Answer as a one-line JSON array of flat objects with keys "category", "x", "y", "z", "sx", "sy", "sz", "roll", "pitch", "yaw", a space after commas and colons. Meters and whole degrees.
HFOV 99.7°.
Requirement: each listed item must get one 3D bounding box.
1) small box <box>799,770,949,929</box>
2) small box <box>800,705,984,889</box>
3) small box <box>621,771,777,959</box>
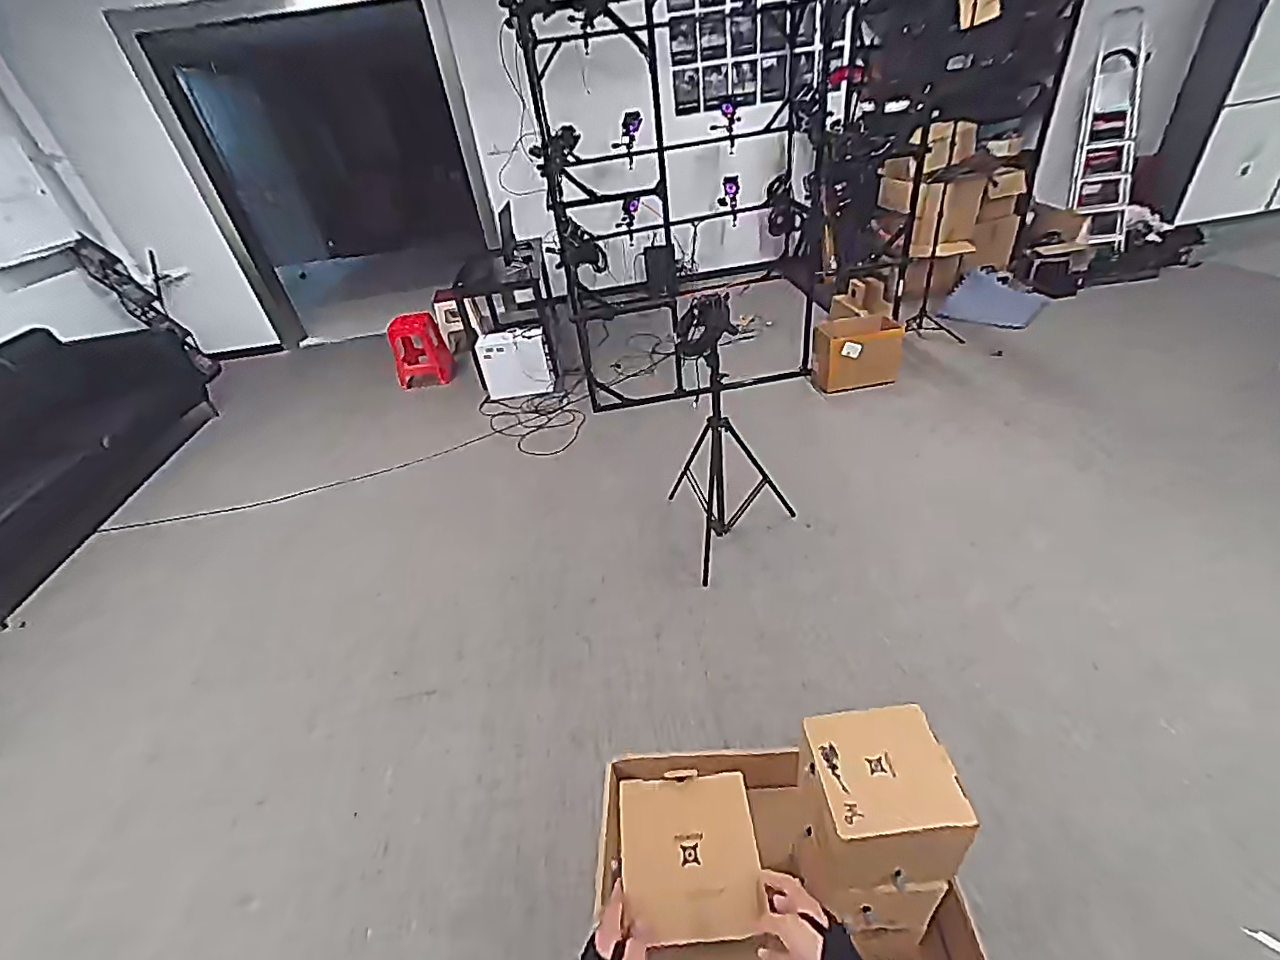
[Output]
[{"category": "small box", "x": 0.355, "y": 0.580, "z": 0.855, "sx": 0.168, "sy": 0.176, "sz": 0.179, "roll": -6, "pitch": 34, "yaw": 4}, {"category": "small box", "x": 0.337, "y": 0.446, "z": 0.763, "sx": 0.179, "sy": 0.176, "sz": 0.168, "roll": -7, "pitch": 34, "yaw": 2}, {"category": "small box", "x": 0.061, "y": 0.501, "z": 0.685, "sx": 0.168, "sy": 0.176, "sz": 0.179, "roll": -4, "pitch": 37, "yaw": -2}]
